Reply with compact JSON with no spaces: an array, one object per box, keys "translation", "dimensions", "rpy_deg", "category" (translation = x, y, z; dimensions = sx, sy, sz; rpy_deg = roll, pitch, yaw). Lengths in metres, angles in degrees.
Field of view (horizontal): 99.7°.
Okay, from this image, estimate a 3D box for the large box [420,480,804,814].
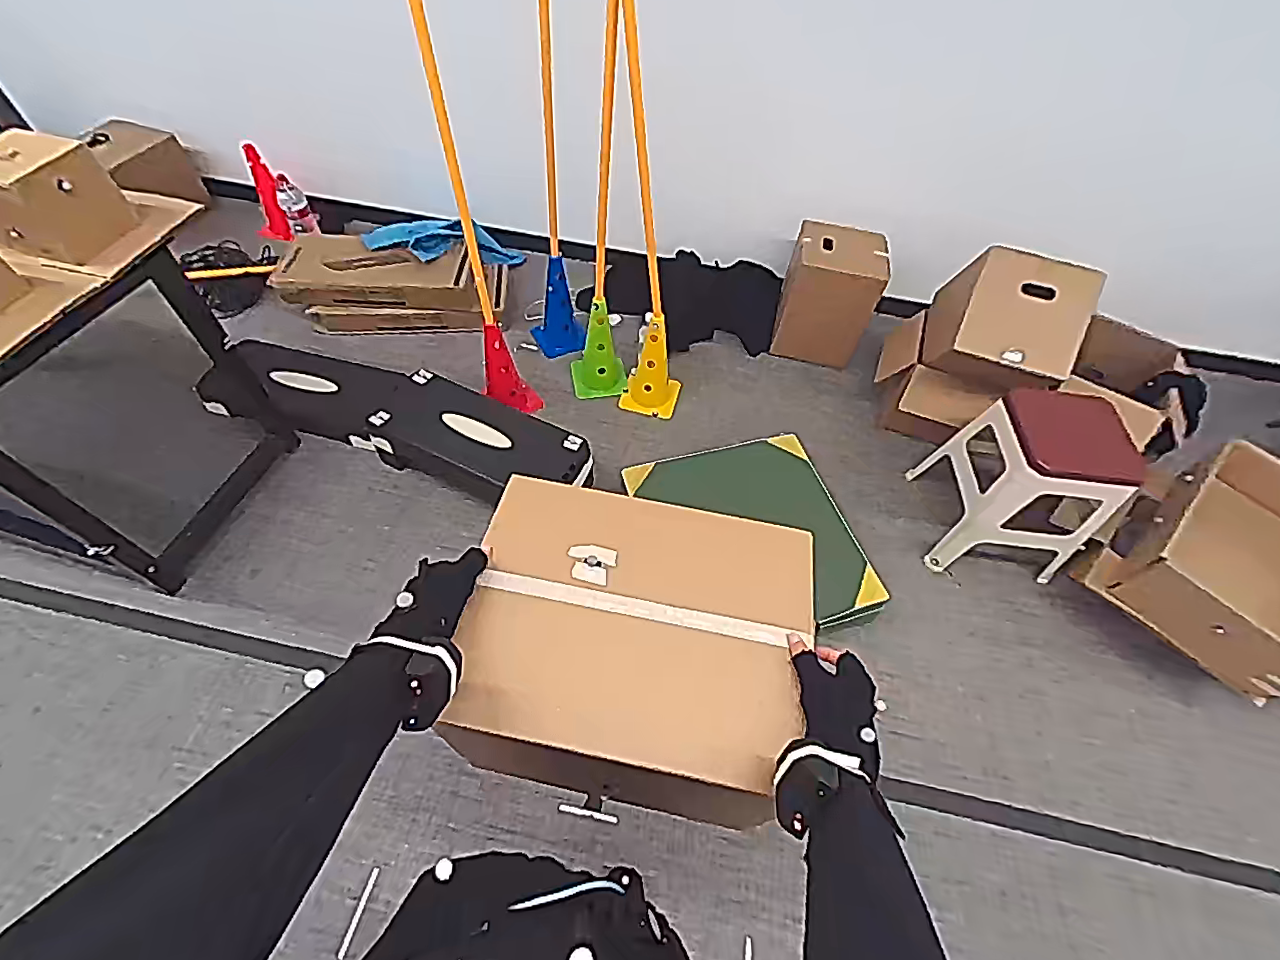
[{"translation":[-0.013,0.240,0.751],"dimensions":[0.408,0.320,0.320],"rpy_deg":[11,53,5],"category":"large box"}]
